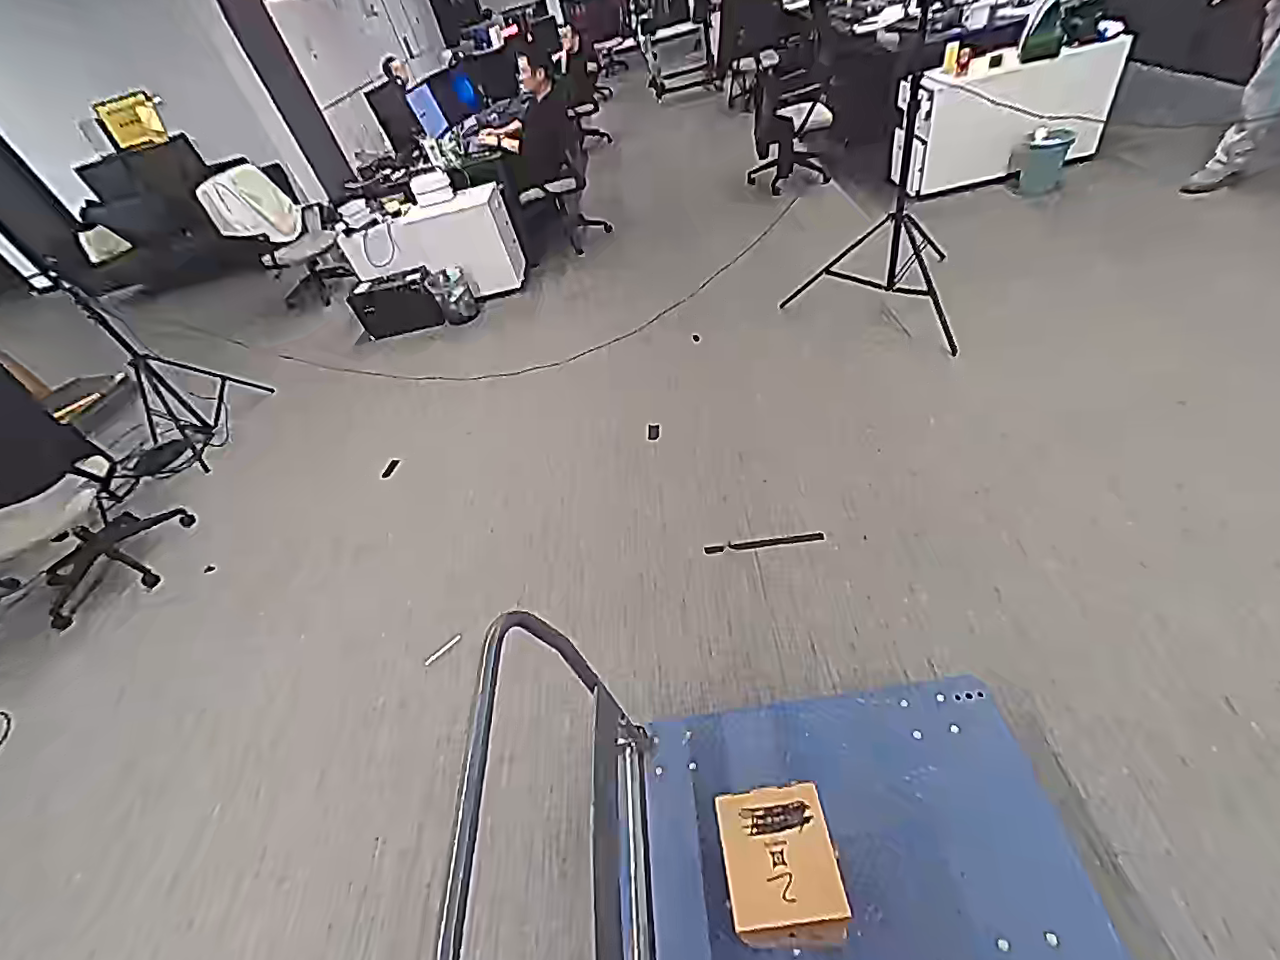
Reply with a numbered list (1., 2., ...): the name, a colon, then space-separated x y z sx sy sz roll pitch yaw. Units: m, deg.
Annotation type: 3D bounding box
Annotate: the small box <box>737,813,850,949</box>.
1. small box: 0.273 0.731 0.985 0.168 0.176 0.179 -9 45 9
